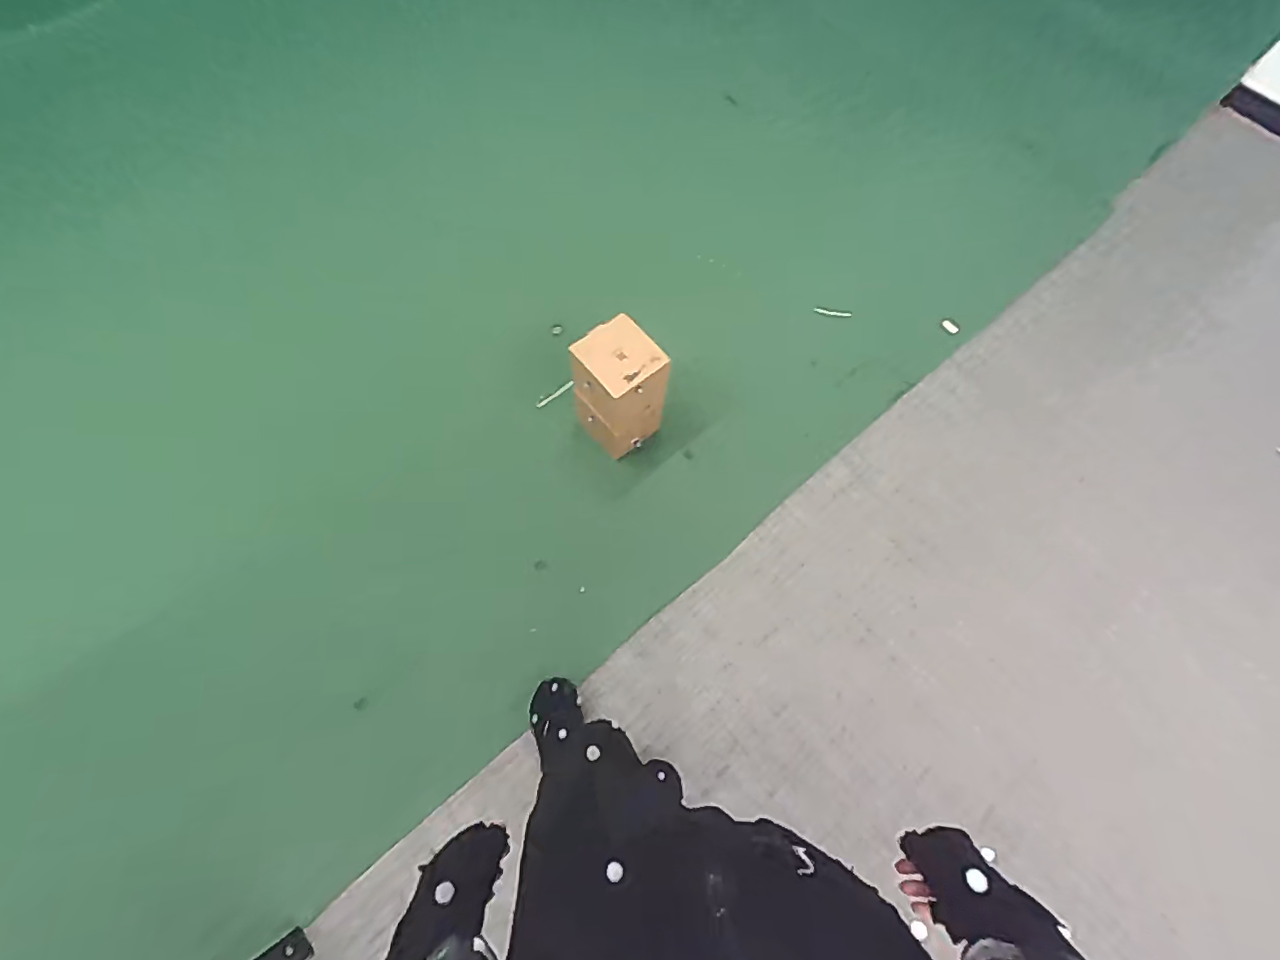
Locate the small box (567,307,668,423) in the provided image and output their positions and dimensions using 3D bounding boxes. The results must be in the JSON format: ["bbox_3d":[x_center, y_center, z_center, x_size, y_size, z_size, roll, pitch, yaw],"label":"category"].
[{"bbox_3d":[-0.055,-0.270,1.296,0.168,0.176,0.179,-37,74,-15],"label":"small box"}]

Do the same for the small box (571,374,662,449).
[{"bbox_3d":[-0.064,-0.213,1.429,0.168,0.176,0.179,-37,75,-14],"label":"small box"}]
